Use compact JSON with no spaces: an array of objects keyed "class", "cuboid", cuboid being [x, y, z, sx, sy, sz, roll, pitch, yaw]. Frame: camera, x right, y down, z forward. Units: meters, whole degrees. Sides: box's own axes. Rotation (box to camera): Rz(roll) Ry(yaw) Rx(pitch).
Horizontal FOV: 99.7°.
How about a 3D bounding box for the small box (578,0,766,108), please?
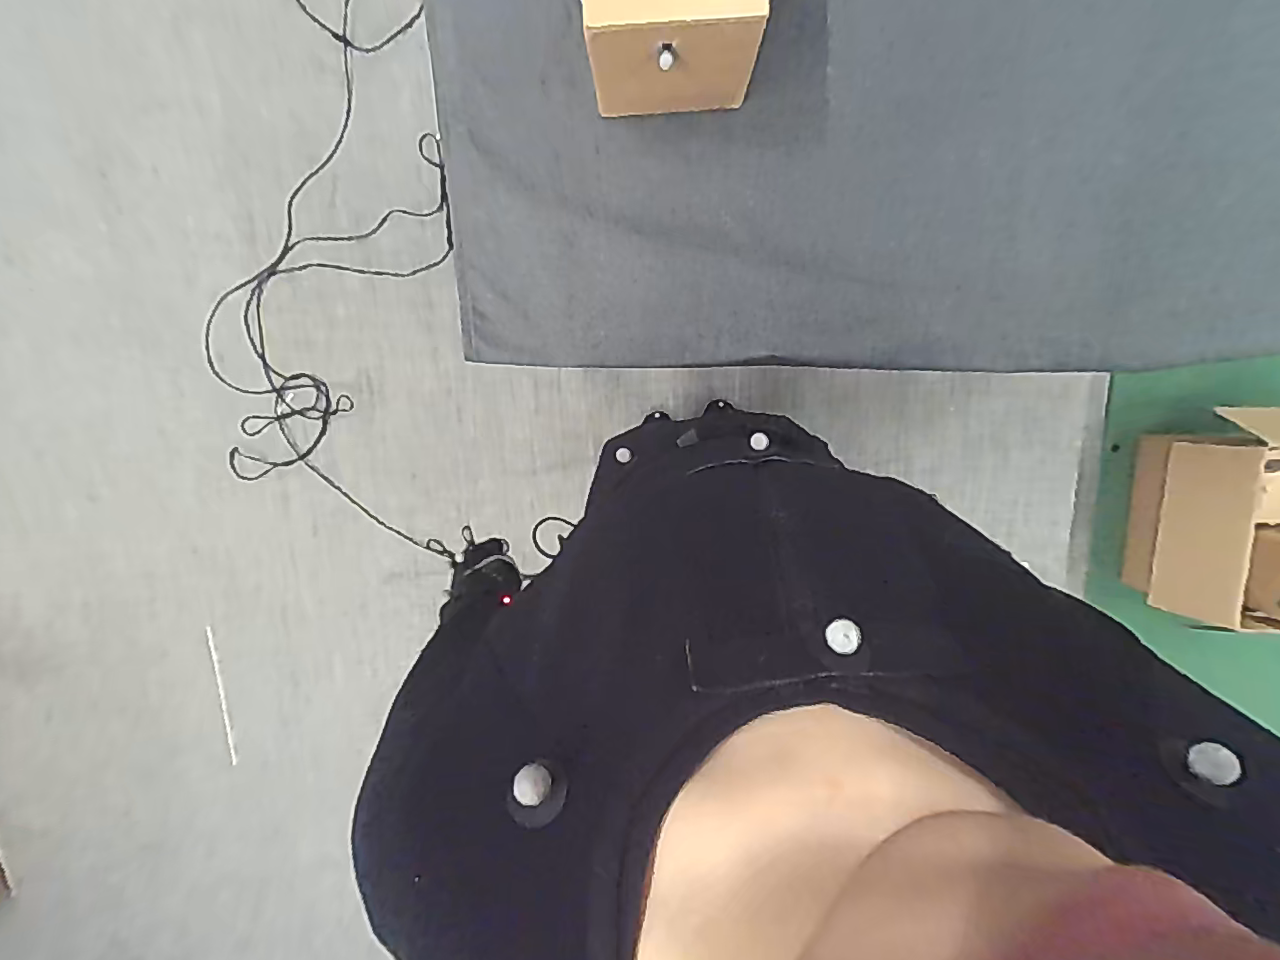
[{"class":"small box","cuboid":[0.030,-0.522,0.566,0.179,0.176,0.168,-2,100,4]}]
